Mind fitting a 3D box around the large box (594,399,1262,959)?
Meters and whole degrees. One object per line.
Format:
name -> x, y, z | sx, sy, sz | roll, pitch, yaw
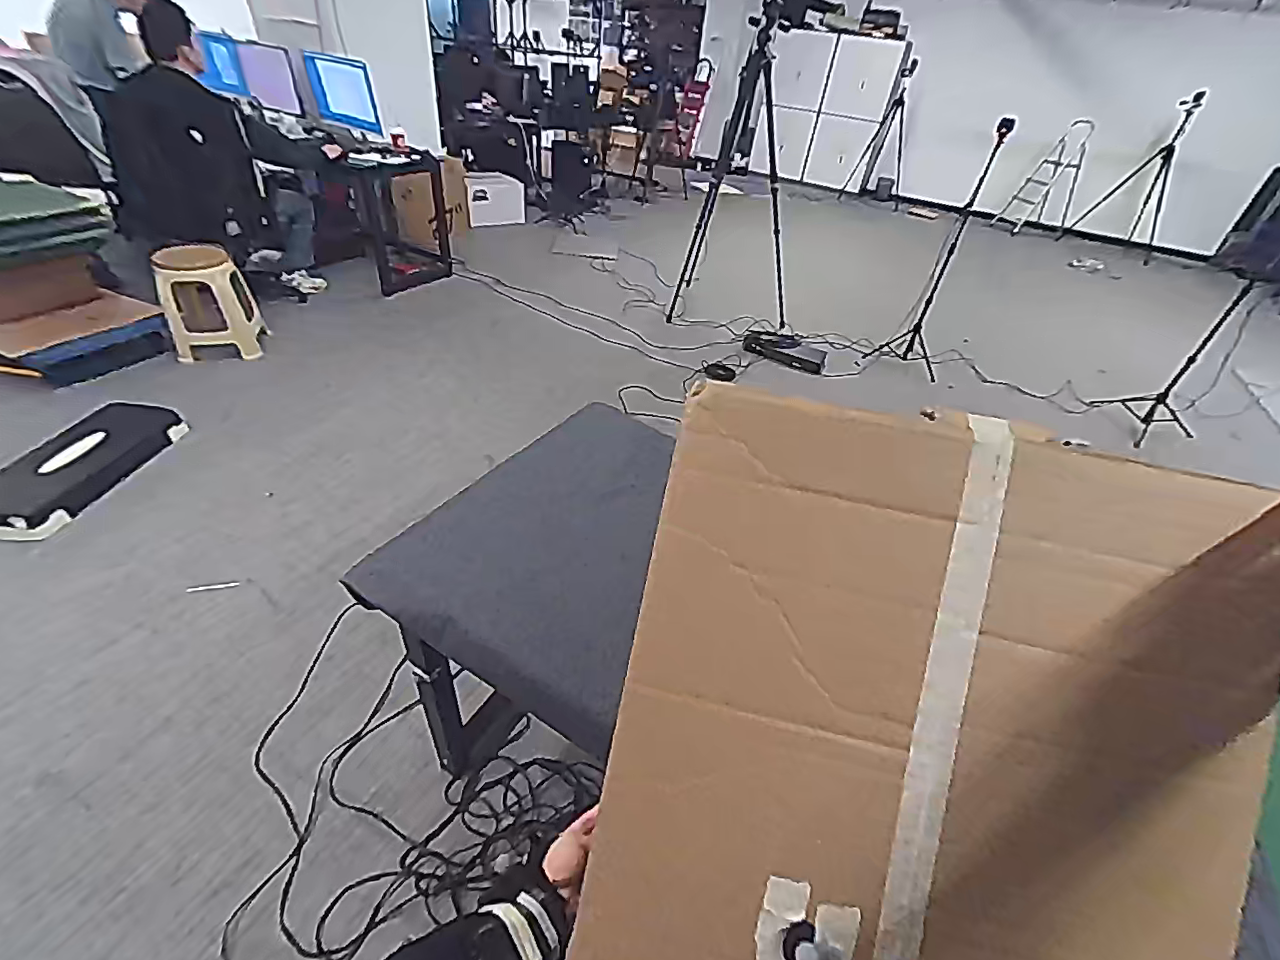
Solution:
large box -> 0.157, 0.173, 0.443 | 0.320, 0.408, 0.320 | 11, 0, 4
